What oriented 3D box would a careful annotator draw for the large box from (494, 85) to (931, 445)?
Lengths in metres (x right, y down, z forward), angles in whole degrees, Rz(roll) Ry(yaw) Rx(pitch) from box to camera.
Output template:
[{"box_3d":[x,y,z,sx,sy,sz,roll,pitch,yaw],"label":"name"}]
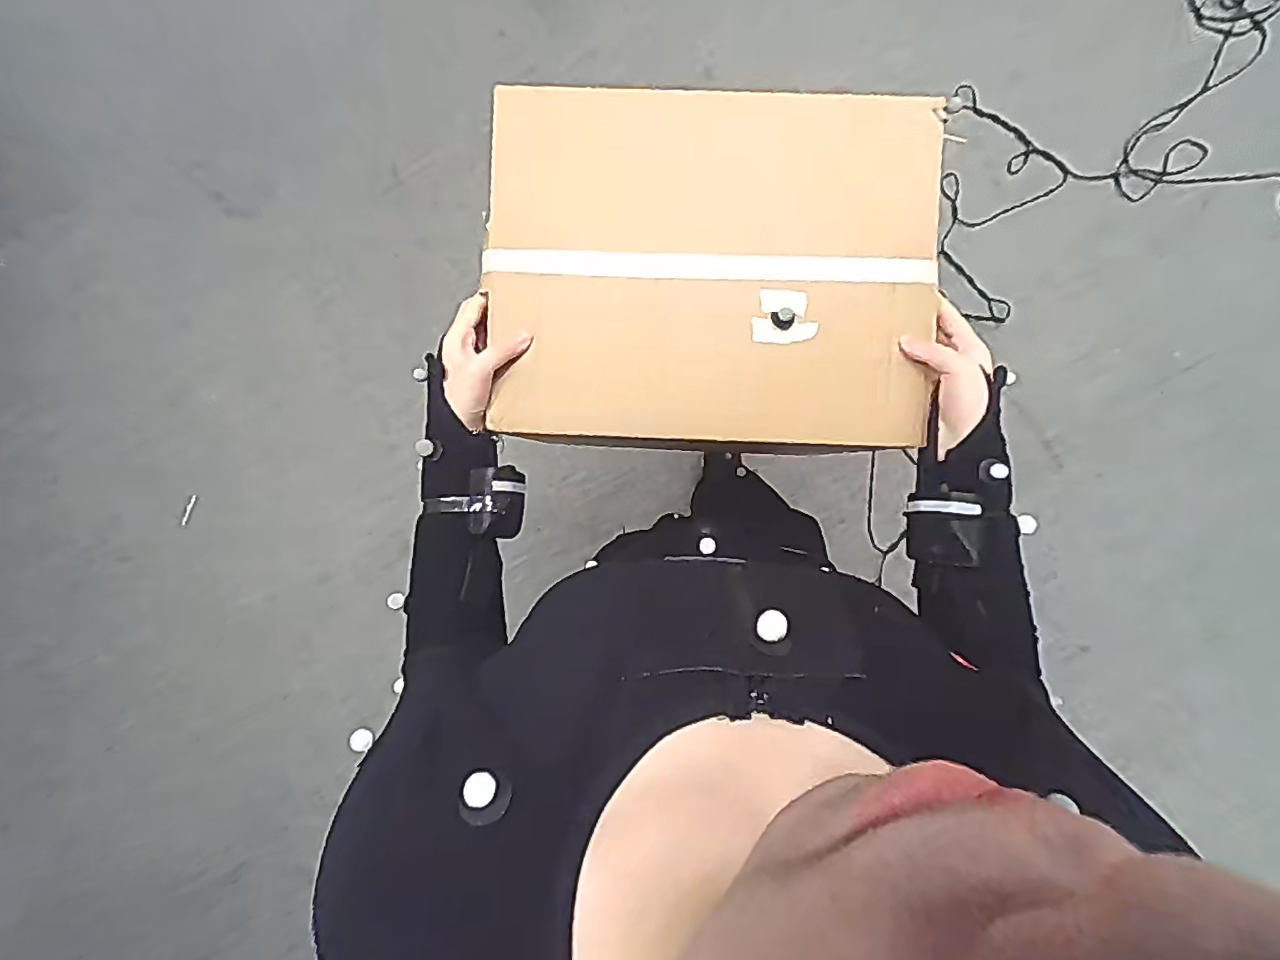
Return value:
[{"box_3d":[0.063,-0.206,0.646,0.408,0.320,0.320,2,92,-1],"label":"large box"}]
